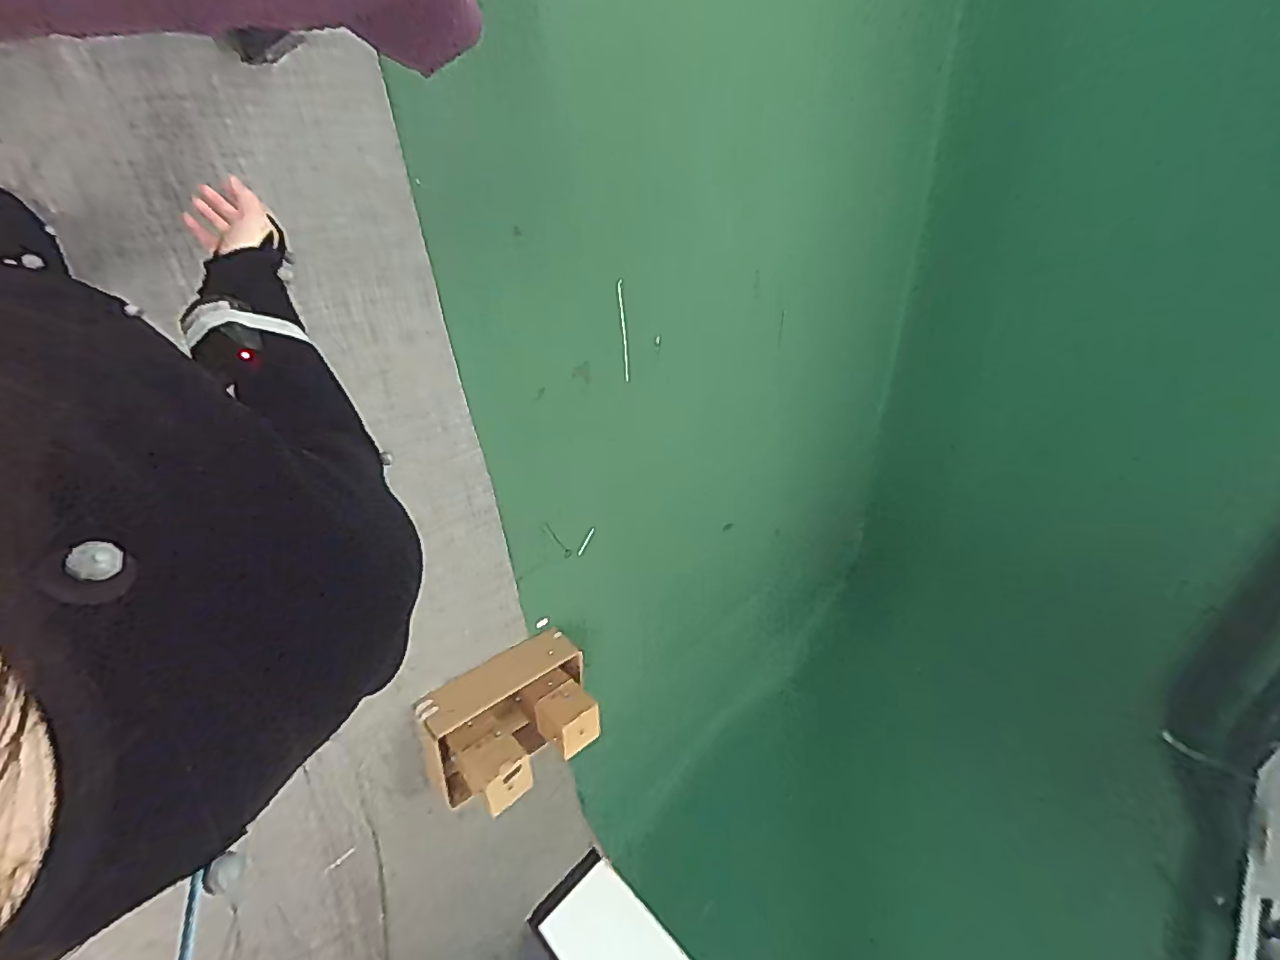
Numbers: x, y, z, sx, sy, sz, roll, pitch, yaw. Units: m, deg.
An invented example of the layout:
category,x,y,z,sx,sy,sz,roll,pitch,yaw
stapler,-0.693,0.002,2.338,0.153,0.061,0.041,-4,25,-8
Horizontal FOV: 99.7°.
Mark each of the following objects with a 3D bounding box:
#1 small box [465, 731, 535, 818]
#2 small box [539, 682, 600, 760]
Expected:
category,x,y,z,sx,sy,sz,roll,pitch,yaw
small box,-0.488,1.005,1.870,0.168,0.176,0.179,-25,126,-39
small box,-0.270,0.913,2.067,0.168,0.176,0.179,-23,123,-38
